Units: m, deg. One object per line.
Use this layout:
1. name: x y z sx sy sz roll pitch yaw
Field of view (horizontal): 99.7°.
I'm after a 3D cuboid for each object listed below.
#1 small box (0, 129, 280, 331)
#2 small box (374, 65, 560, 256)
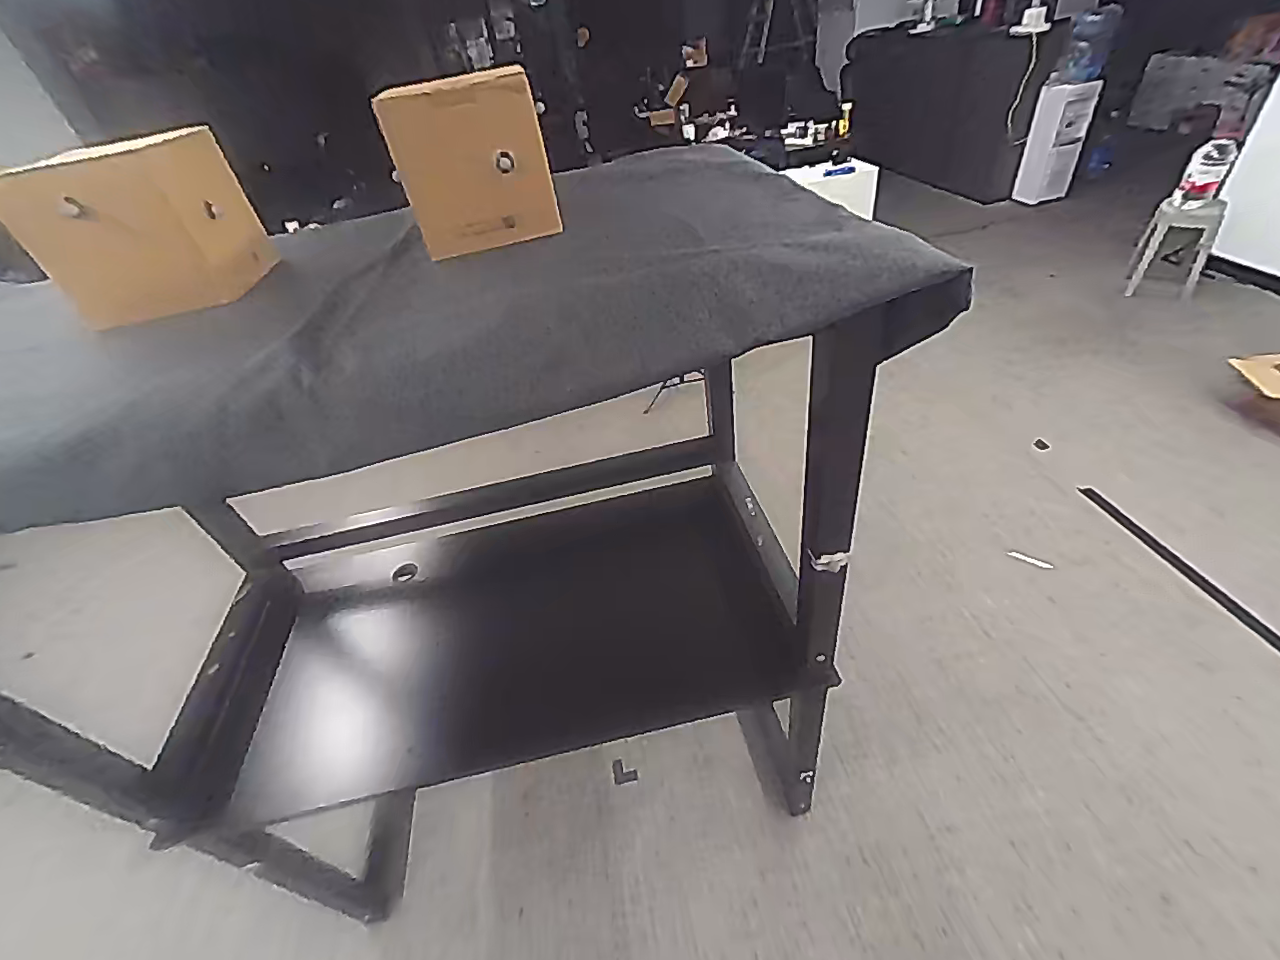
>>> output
1. small box: -0.594 -0.307 0.666 0.179 0.176 0.168 -13 41 -1
2. small box: -0.203 -0.396 0.679 0.168 0.176 0.179 -14 41 -4
